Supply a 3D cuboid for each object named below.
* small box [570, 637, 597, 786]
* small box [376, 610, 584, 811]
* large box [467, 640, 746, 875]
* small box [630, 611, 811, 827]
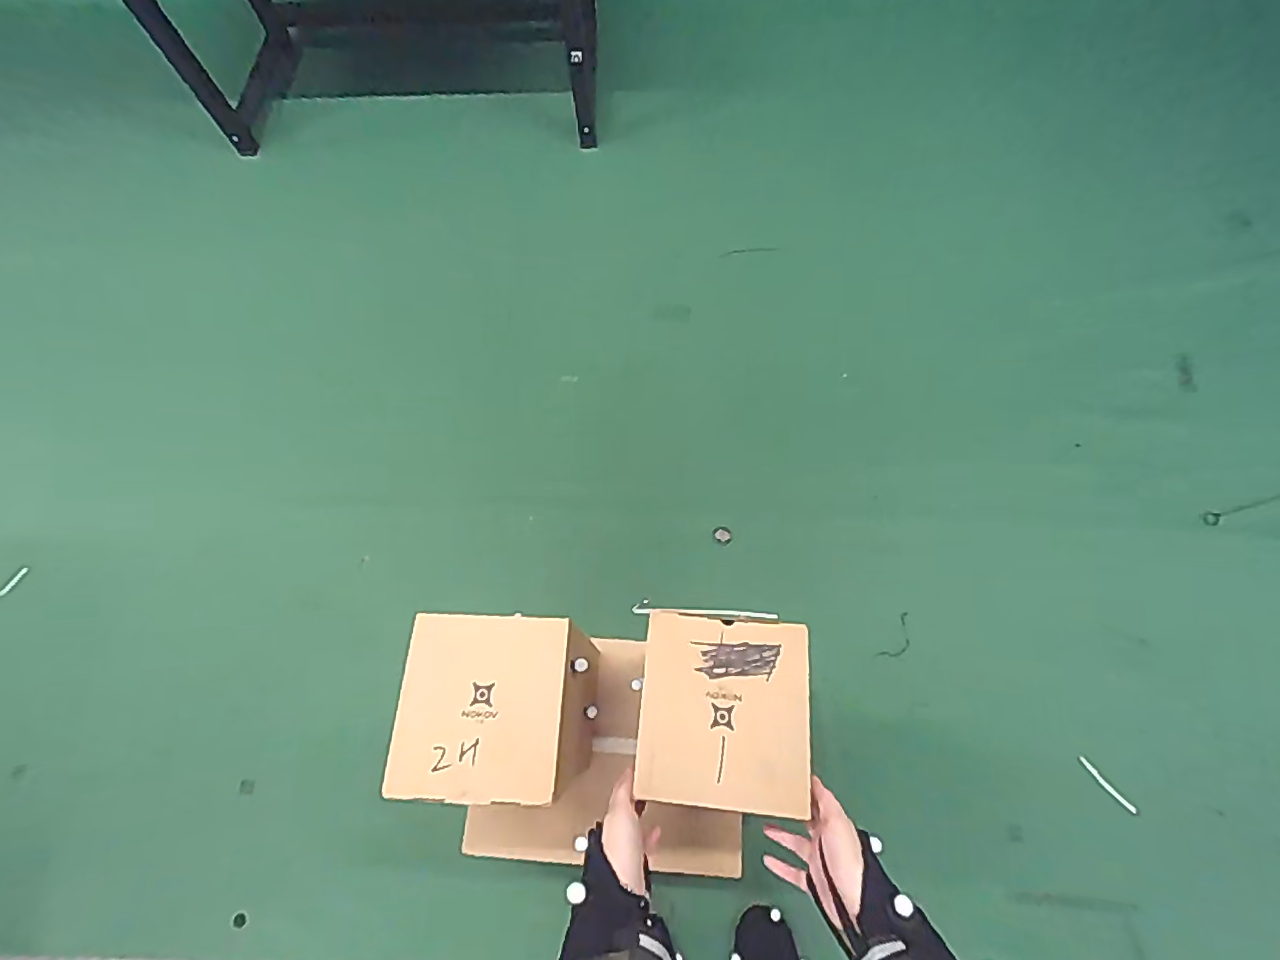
[{"bbox_3d":[-0.154,0.316,0.757,0.168,0.176,0.179,3,67,3],"label":"small box"},{"bbox_3d":[-0.158,0.253,0.604,0.168,0.176,0.179,2,66,3],"label":"small box"},{"bbox_3d":[-0.041,0.462,0.953,0.408,0.320,0.320,2,67,3],"label":"large box"},{"bbox_3d":[0.085,0.253,0.590,0.168,0.176,0.179,4,67,6],"label":"small box"}]
